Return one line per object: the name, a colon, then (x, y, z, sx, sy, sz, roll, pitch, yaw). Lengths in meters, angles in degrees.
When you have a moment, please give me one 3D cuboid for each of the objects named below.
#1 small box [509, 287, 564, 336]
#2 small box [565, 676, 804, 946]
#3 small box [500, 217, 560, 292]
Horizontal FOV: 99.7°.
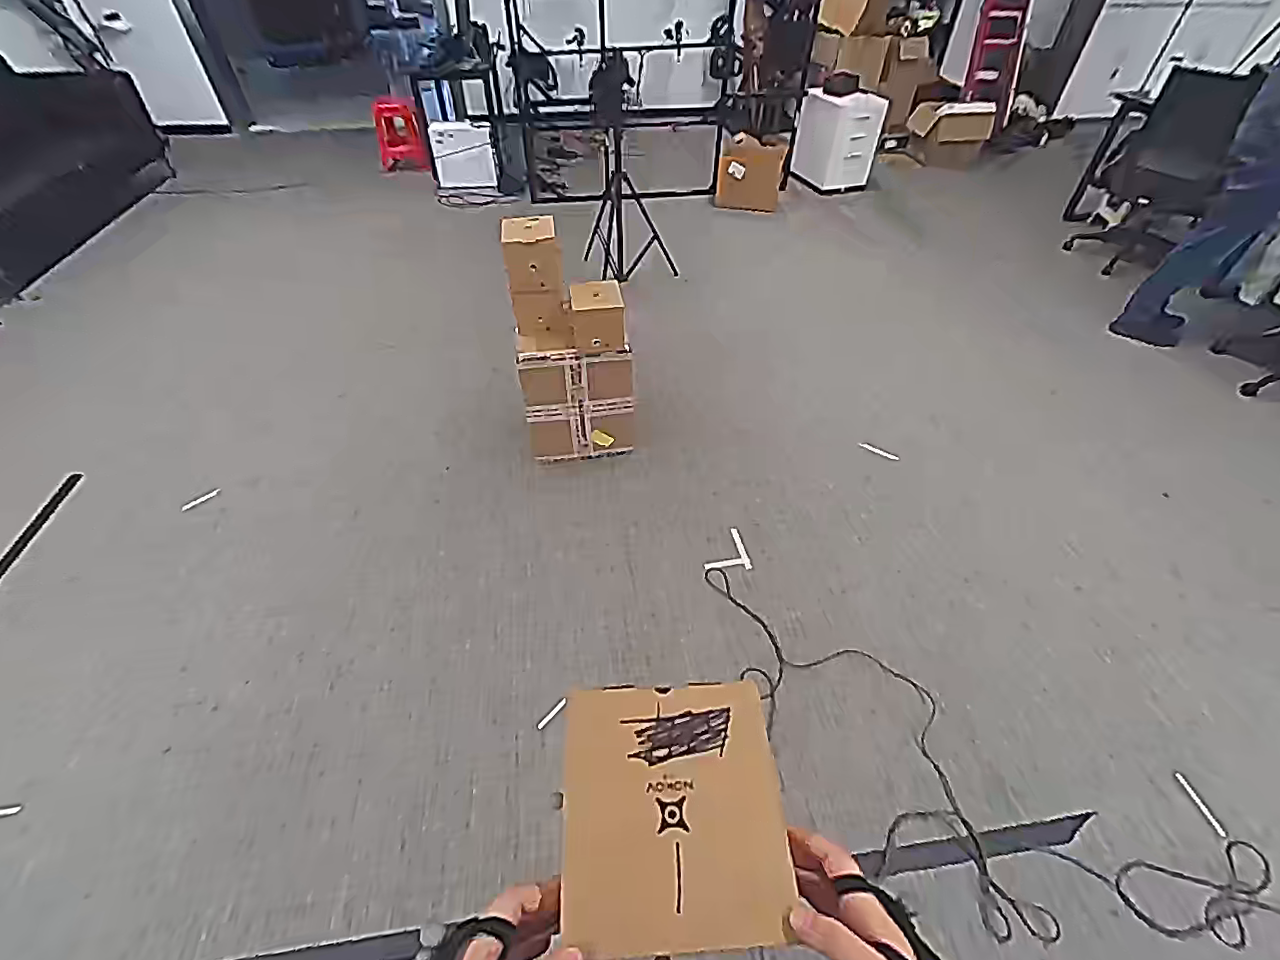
small box: (-0.362, -0.627, 1.895, 0.168, 0.176, 0.179, -9, 49, -6)
small box: (0.022, 0.290, 0.476, 0.168, 0.176, 0.179, -1, 51, -4)
small box: (-0.358, -0.731, 1.768, 0.168, 0.176, 0.179, -8, 49, -5)
